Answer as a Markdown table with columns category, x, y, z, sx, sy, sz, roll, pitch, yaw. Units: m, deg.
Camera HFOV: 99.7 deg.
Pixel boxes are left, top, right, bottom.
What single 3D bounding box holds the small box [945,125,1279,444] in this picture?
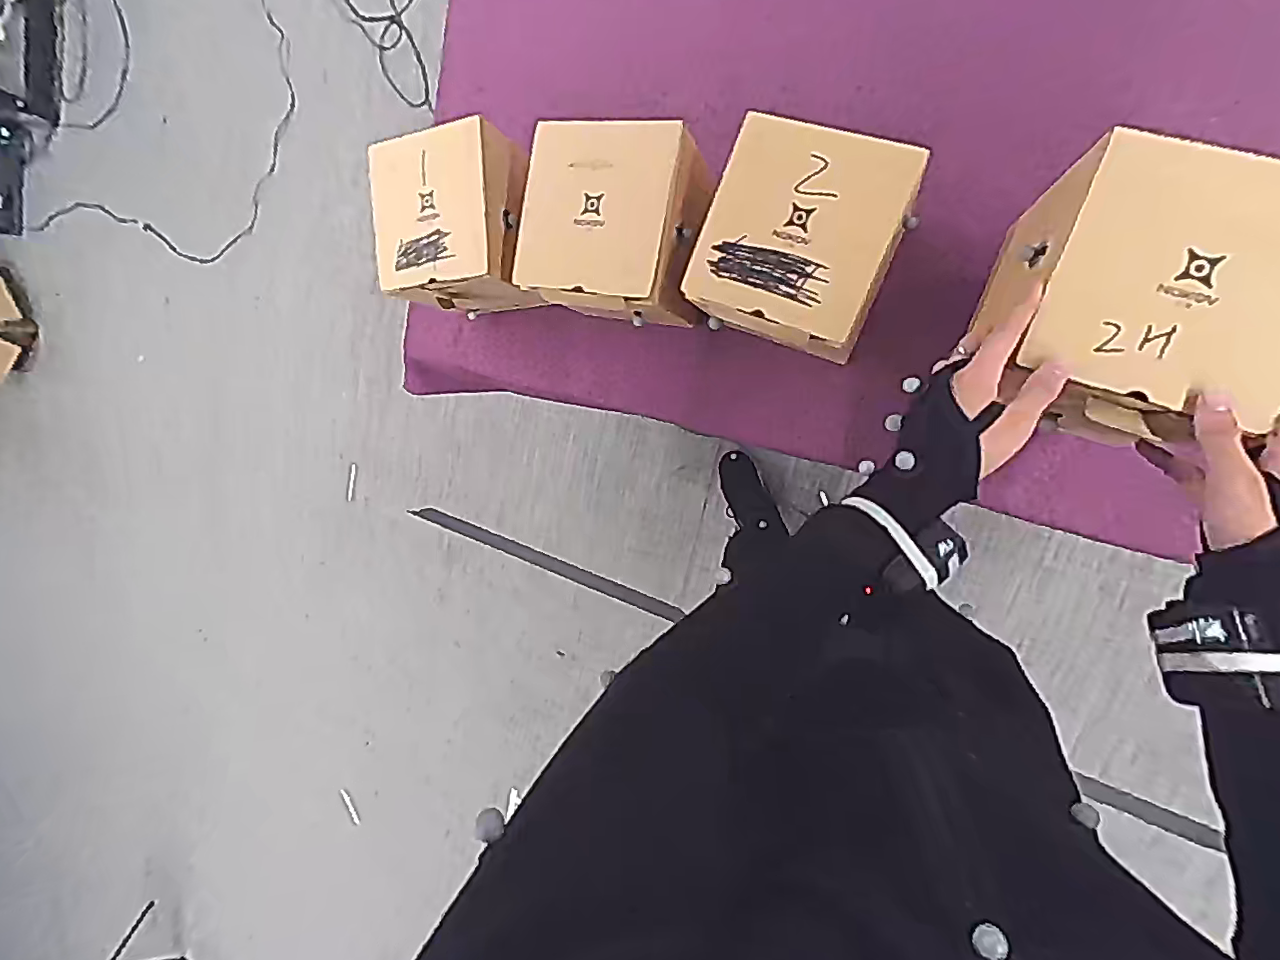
| category | x | y | z | sx | sy | sz | roll | pitch | yaw |
| --- | --- | --- | --- | --- | --- | --- | --- | --- | --- |
| small box | 0.382 | -0.137 | 0.440 | 0.168 | 0.176 | 0.179 | 21 | 97 | 12 |
